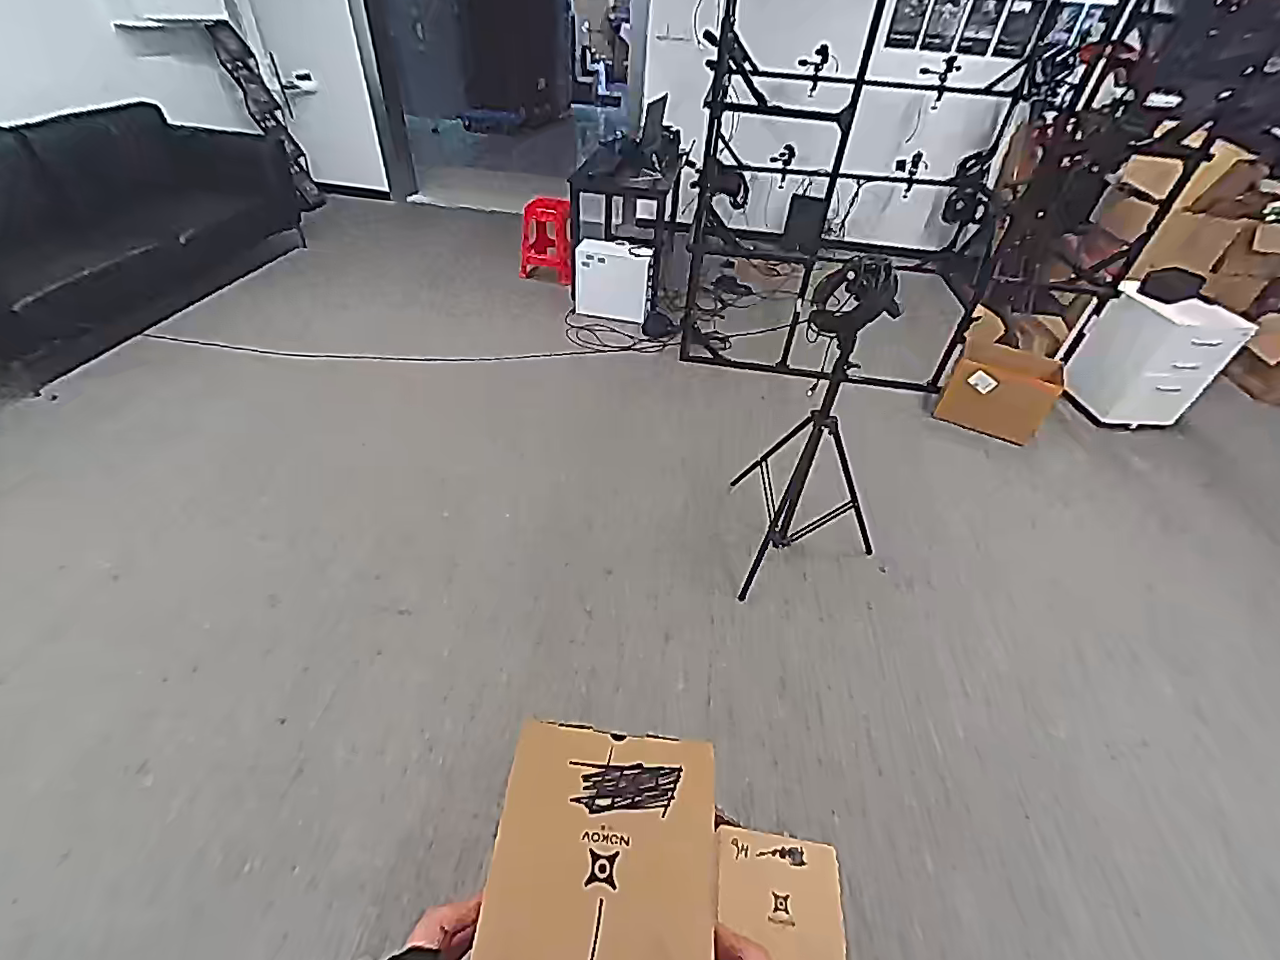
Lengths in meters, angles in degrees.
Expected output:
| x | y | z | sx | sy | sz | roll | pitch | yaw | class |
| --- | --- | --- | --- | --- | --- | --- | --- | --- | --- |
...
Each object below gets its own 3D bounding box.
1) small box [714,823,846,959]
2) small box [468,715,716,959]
| x | y | z | sx | sy | sz | roll | pitch | yaw | class |
| --- | --- | --- | --- | --- | --- | --- | --- | --- | --- |
| 0.172 | 0.612 | 0.750 | 0.168 | 0.176 | 0.179 | 10 | 44 | 2 | small box |
| -0.034 | 0.324 | 0.458 | 0.168 | 0.176 | 0.179 | 7 | 50 | -1 | small box |
